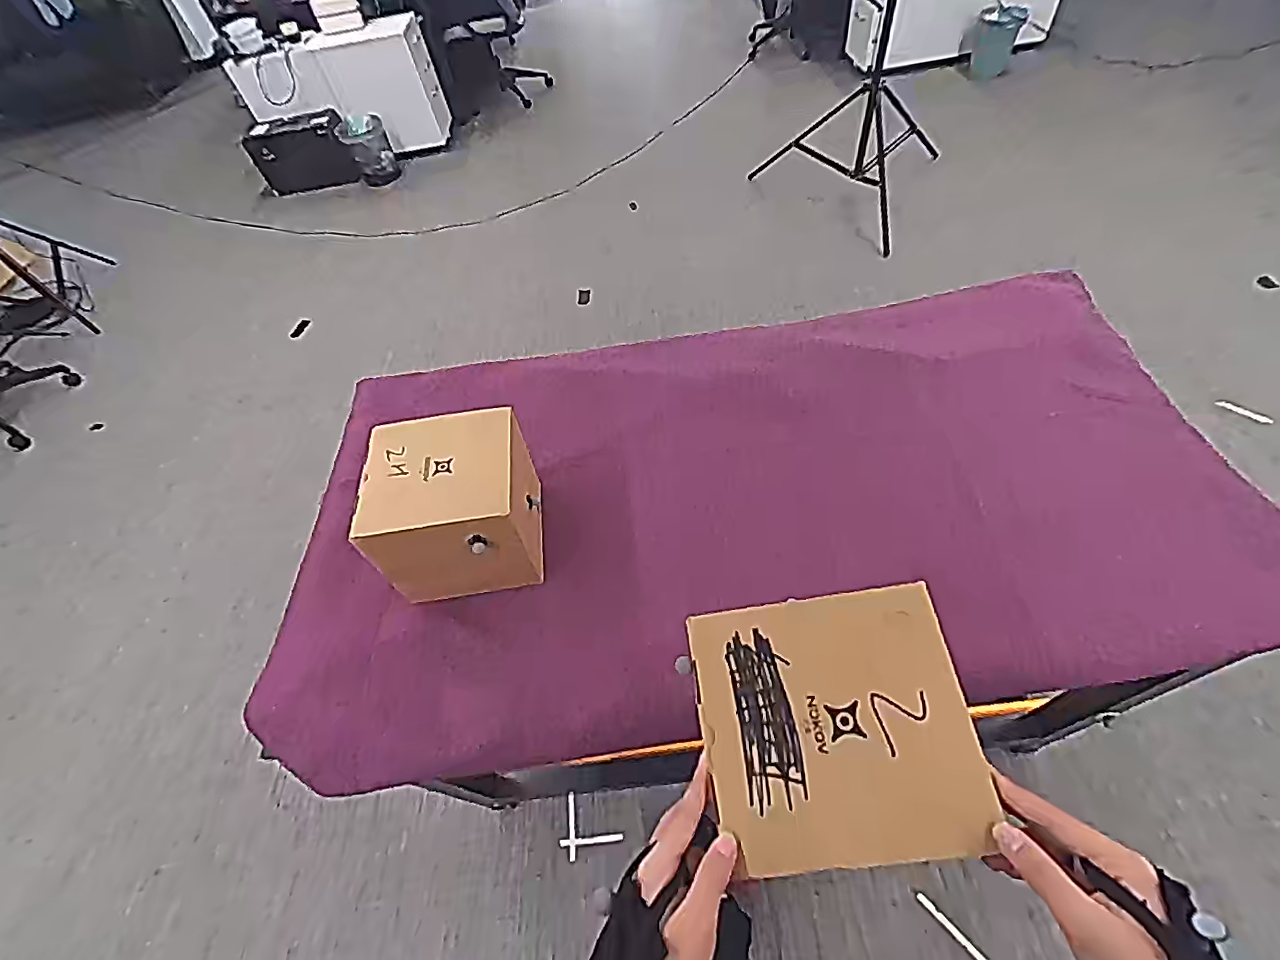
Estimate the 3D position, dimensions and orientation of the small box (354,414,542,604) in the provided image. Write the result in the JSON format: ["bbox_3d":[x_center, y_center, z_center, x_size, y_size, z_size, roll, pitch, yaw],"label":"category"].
[{"bbox_3d":[-0.225,0.041,0.691,0.179,0.176,0.168,-9,52,-1],"label":"small box"}]
